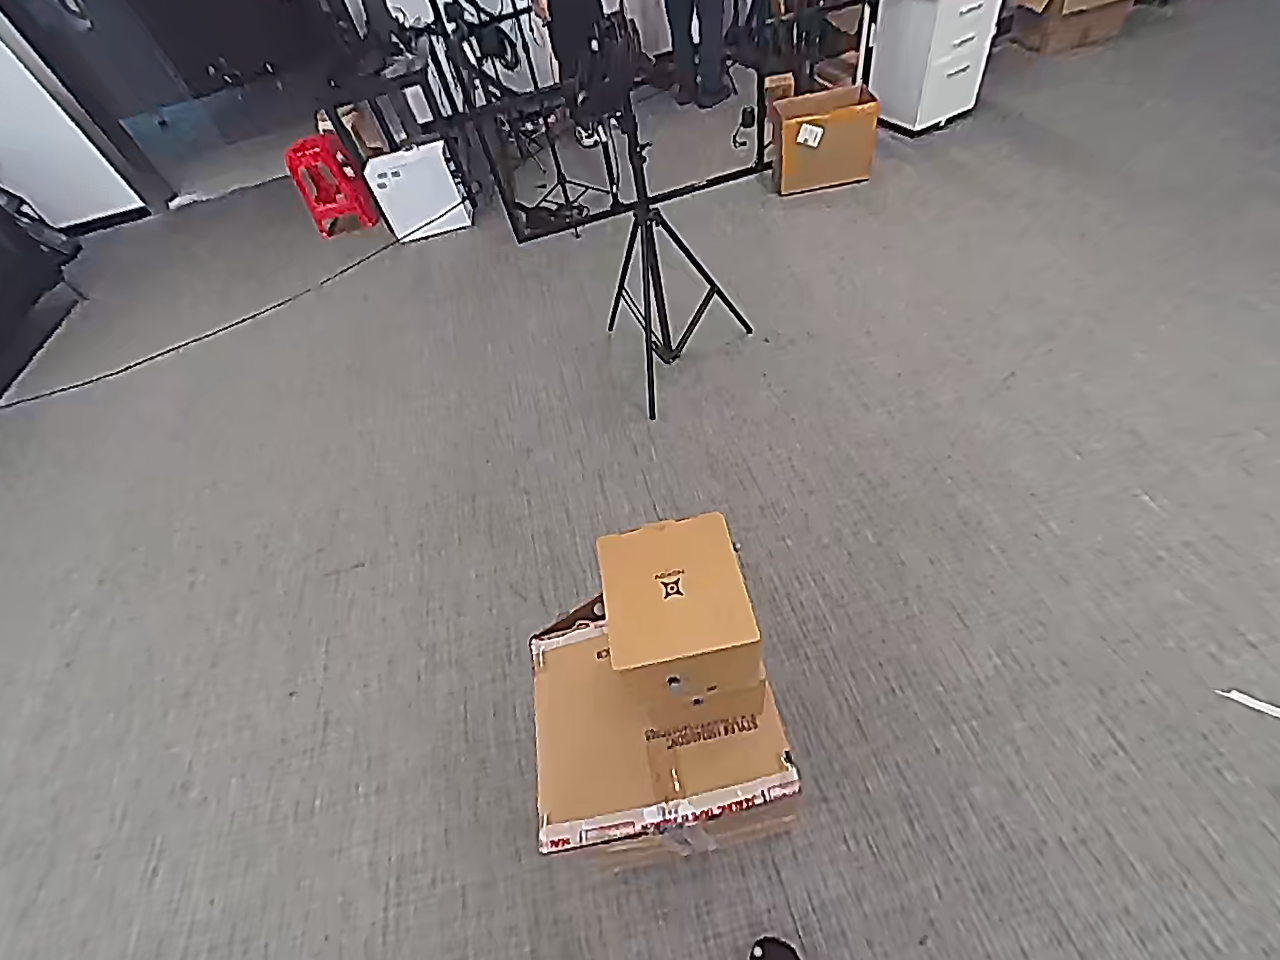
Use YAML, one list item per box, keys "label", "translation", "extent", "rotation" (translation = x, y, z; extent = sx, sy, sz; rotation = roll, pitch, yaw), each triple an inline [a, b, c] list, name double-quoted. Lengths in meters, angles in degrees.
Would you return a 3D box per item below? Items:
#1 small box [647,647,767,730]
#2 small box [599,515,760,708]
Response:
- label: "small box"
  translation: [0.087, 0.266, 0.823]
  extent: [0.179, 0.176, 0.168]
  rotation: [-11, 52, 2]
- label: "small box"
  translation: [0.052, 0.176, 0.692]
  extent: [0.168, 0.176, 0.179]
  rotation: [-13, 51, 1]
